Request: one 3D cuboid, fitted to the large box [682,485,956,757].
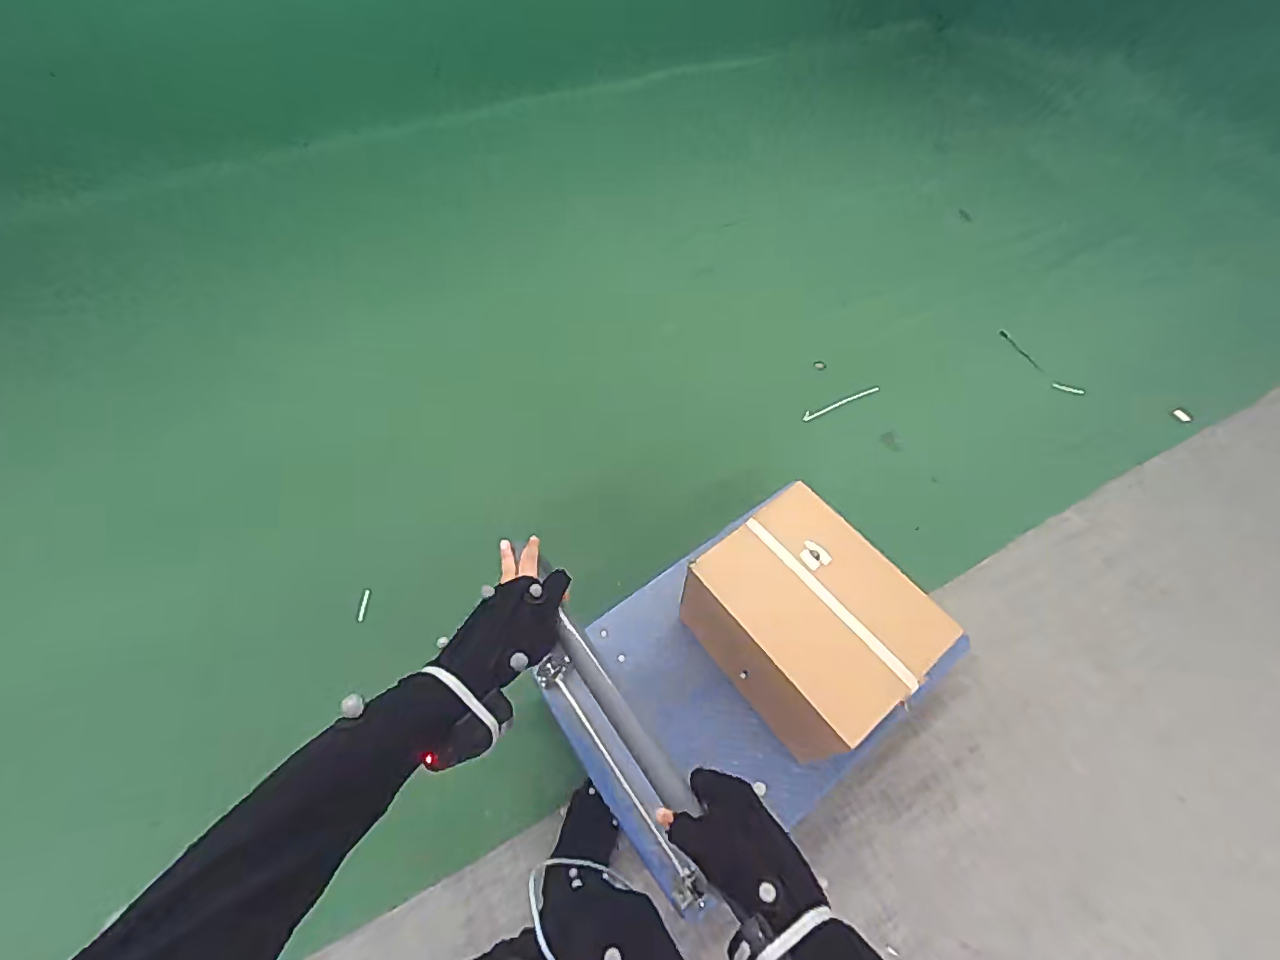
[{"bbox_3d":[0.335,0.297,1.135,0.320,0.320,0.408,-33,63,-20],"label":"large box"}]
